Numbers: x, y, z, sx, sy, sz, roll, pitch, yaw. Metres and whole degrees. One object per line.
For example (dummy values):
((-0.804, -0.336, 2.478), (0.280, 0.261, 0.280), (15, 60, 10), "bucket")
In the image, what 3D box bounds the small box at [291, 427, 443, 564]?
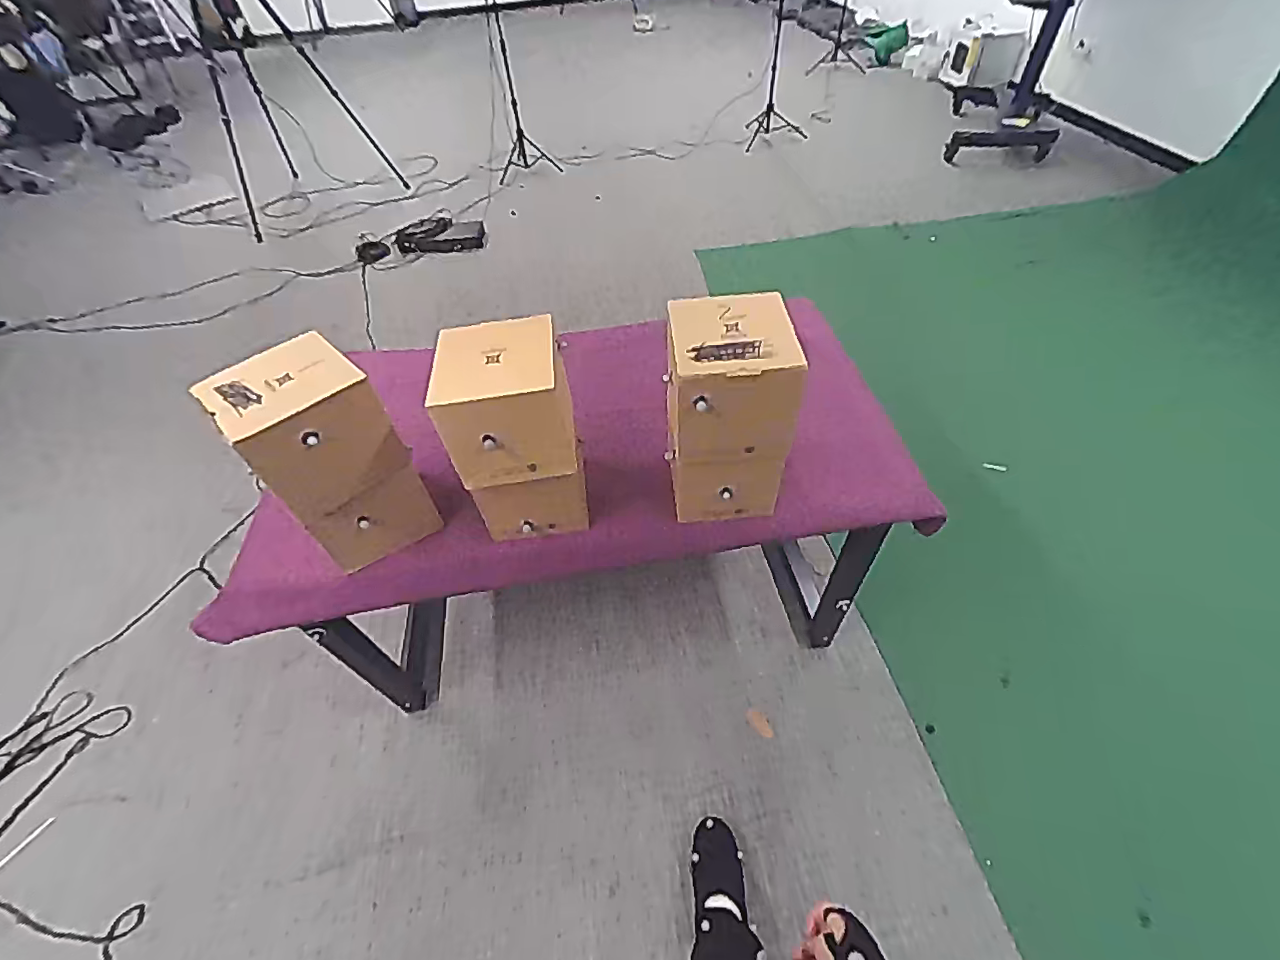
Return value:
((-0.464, 0.010, 0.910), (0.179, 0.176, 0.168), (-28, 54, -19), "small box")

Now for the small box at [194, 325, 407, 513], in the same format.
((-0.471, -0.085, 0.774), (0.168, 0.176, 0.179), (36, 59, 29), "small box")

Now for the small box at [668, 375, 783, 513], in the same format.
((0.137, -0.056, 0.925), (0.168, 0.176, 0.179), (-4, 50, 0), "small box")

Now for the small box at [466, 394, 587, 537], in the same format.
((-0.186, -0.027, 0.925), (0.168, 0.176, 0.179), (-8, 50, -2), "small box")

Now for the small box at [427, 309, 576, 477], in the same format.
((-0.191, -0.120, 0.790), (0.168, 0.176, 0.179), (-9, 48, -2), "small box")
